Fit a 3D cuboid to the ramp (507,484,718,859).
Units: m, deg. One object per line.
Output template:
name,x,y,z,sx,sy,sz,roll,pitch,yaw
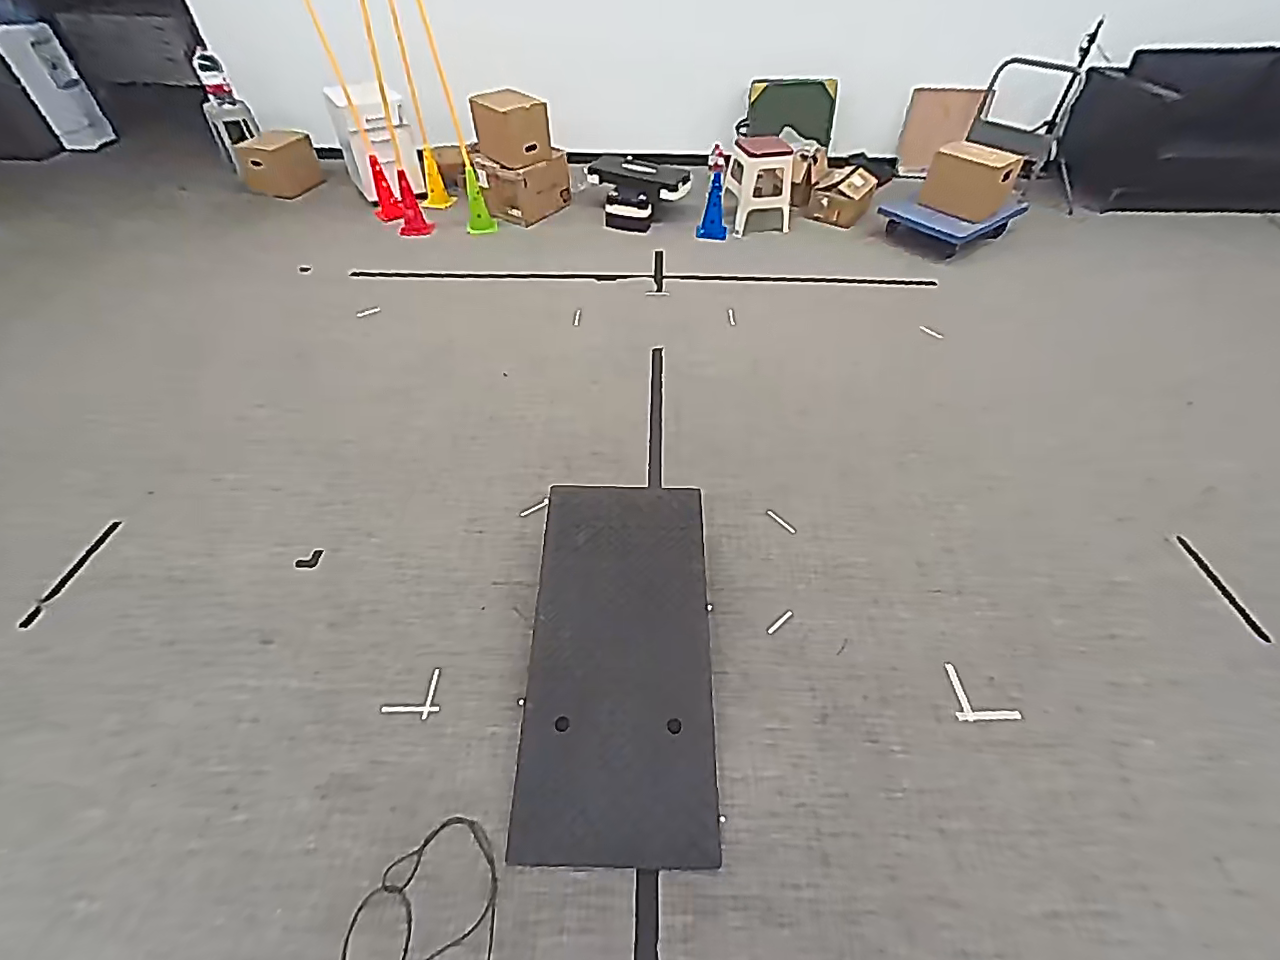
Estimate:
ramp,-0.053,0.440,1.496,0.509,0.206,0.991,1,48,-2
